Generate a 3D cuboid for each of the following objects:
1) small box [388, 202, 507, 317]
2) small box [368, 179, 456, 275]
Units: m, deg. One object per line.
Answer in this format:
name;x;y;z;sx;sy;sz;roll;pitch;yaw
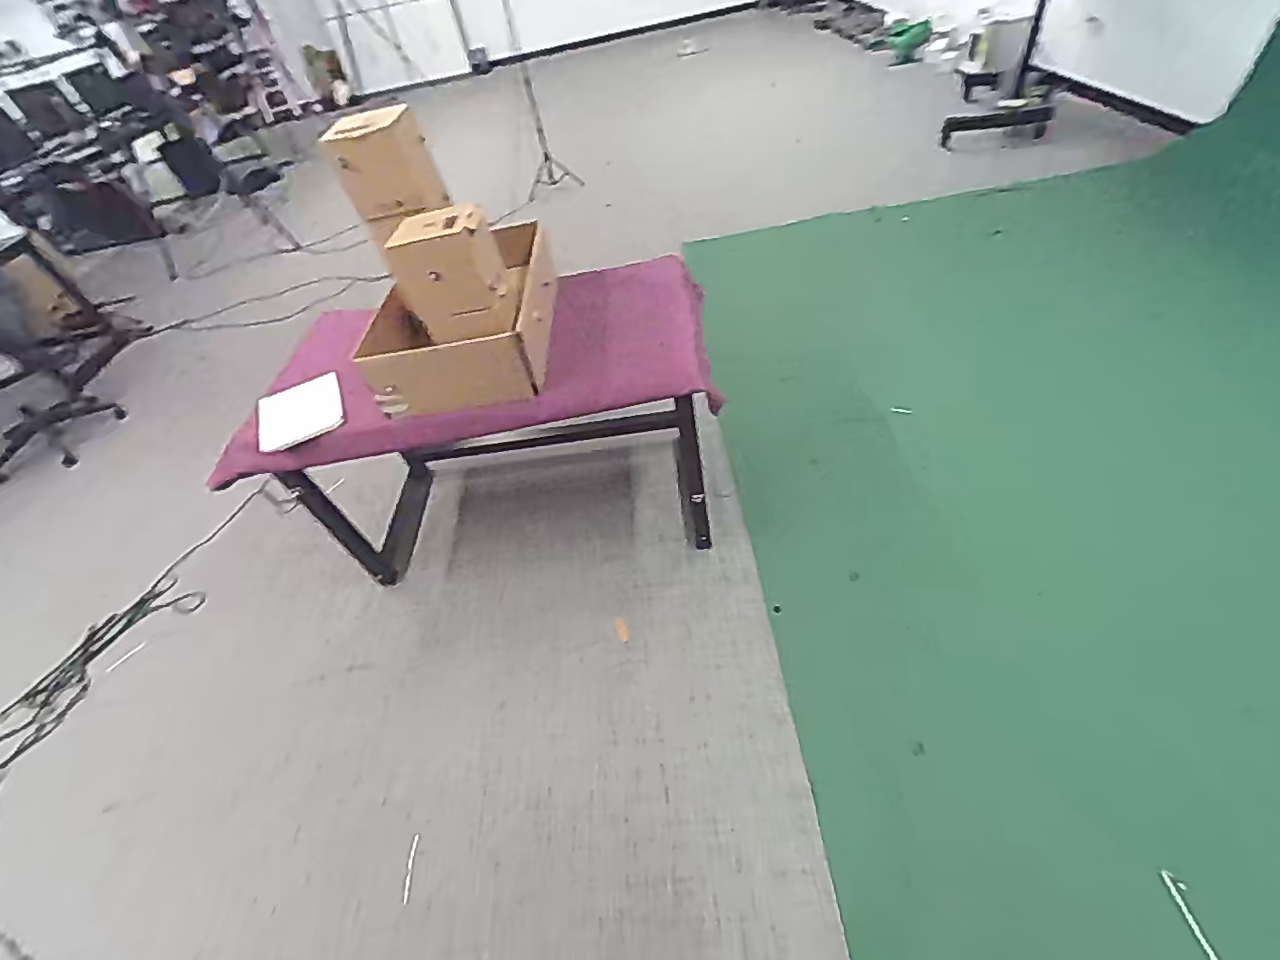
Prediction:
small box;-0.416;-0.488;1.207;0.179;0.176;0.168;-8;46;9
small box;-0.551;-0.634;1.381;0.168;0.176;0.179;-6;49;7
